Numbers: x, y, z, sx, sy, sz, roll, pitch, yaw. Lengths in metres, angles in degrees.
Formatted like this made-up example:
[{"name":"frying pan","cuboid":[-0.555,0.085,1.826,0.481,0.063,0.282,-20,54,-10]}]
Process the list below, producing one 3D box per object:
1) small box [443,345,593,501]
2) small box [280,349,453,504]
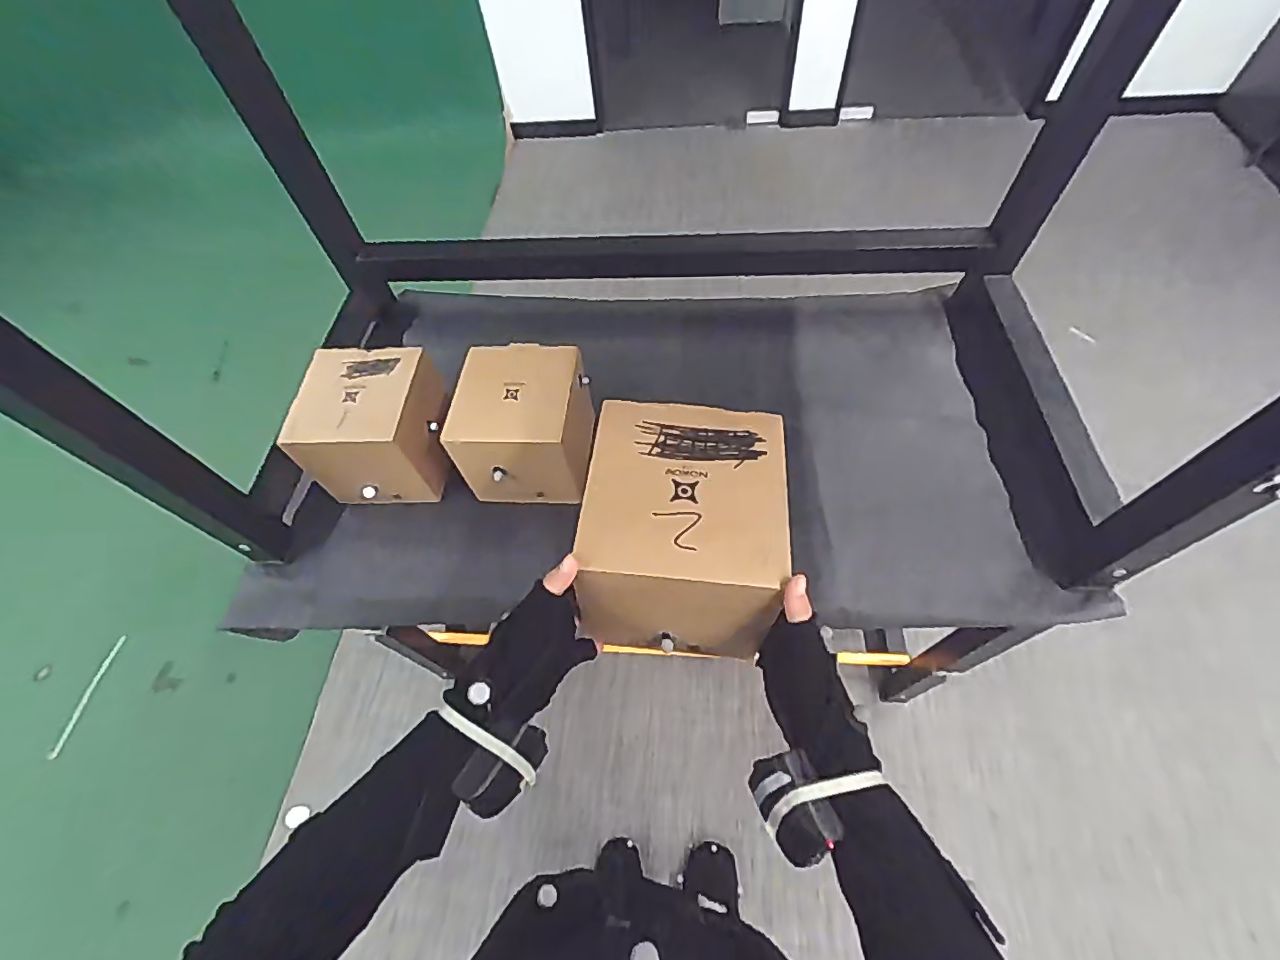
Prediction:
[{"name":"small box","cuboid":[-0.169,-0.081,0.815,0.168,0.176,0.179,1,57,5]},{"name":"small box","cuboid":[-0.396,-0.079,0.831,0.168,0.176,0.179,-1,58,5]}]
